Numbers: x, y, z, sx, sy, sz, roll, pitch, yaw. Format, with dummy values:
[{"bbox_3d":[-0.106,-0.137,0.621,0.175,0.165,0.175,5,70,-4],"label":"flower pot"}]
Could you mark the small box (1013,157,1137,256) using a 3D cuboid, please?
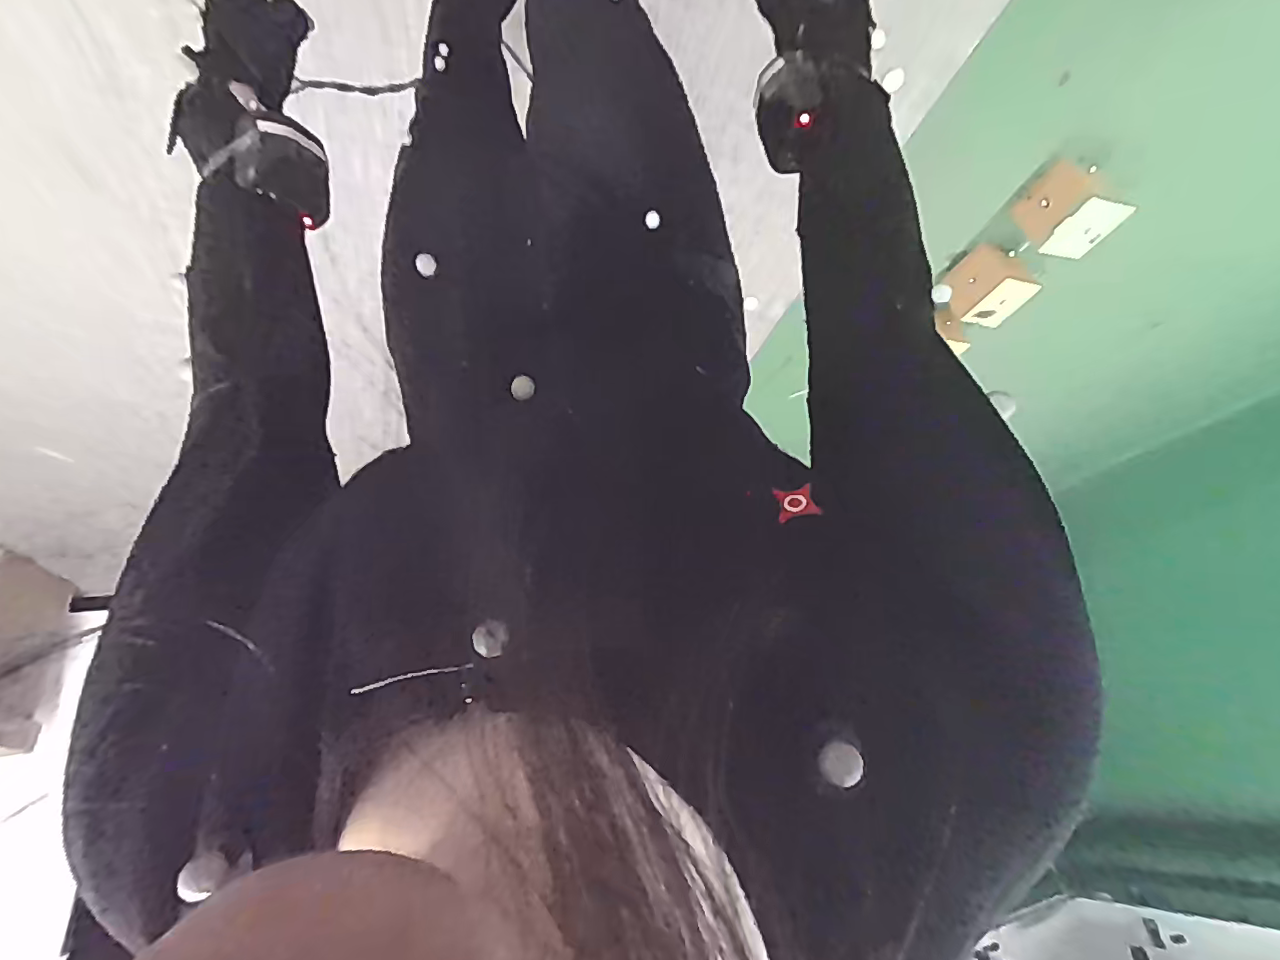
[{"bbox_3d":[1.183,-0.751,1.485,0.179,0.176,0.168,1,152,-19],"label":"small box"}]
